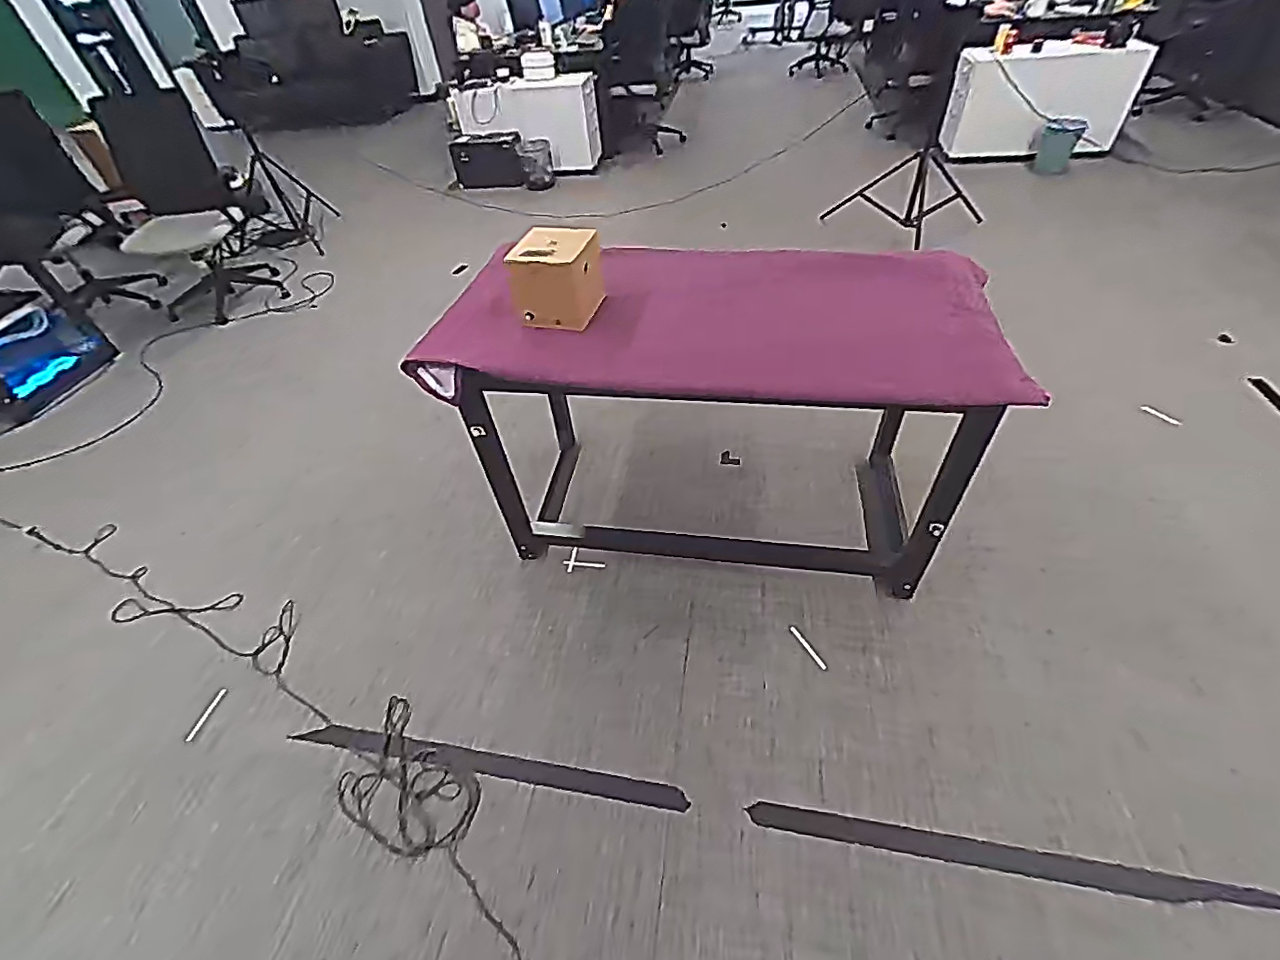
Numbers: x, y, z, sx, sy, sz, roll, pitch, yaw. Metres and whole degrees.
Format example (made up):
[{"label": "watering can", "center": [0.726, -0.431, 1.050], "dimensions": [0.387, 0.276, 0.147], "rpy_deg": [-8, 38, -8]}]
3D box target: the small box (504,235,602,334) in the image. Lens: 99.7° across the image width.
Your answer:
[{"label": "small box", "center": [-0.197, -0.467, 1.295], "dimensions": [0.168, 0.176, 0.179], "rpy_deg": [9, 48, 14]}]
